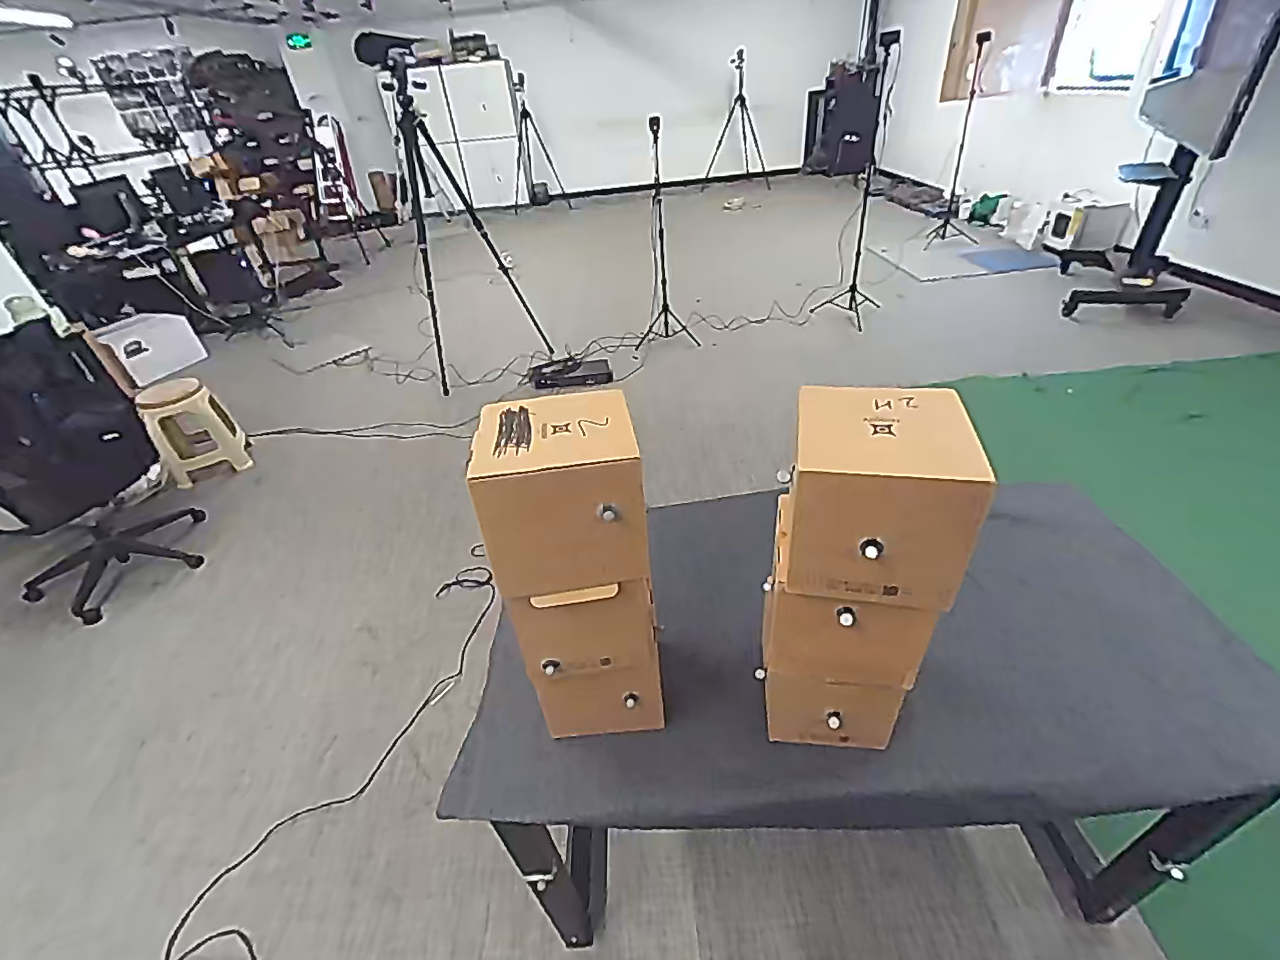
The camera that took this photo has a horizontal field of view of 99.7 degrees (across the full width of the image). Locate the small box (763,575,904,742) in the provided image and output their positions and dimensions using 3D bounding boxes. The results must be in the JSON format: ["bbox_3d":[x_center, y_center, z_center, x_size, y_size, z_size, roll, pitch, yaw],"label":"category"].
[{"bbox_3d":[0.270,0.262,0.797,0.168,0.176,0.179,-1,37,9],"label":"small box"}]

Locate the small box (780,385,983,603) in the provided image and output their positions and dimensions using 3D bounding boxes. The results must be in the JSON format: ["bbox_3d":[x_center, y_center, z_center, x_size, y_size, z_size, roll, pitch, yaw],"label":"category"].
[{"bbox_3d":[0.243,0.011,0.586,0.168,0.176,0.179,4,37,15],"label":"small box"}]

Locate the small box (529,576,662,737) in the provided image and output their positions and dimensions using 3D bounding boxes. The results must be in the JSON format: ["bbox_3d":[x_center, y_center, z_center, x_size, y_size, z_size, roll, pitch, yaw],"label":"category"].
[{"bbox_3d":[-0.060,0.273,0.838,0.179,0.176,0.168,-7,35,1],"label":"small box"}]

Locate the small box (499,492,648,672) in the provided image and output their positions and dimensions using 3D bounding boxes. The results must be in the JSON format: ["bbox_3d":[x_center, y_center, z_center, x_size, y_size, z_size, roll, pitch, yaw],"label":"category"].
[{"bbox_3d":[-0.085,0.143,0.741,0.168,0.176,0.179,-8,34,-3],"label":"small box"}]

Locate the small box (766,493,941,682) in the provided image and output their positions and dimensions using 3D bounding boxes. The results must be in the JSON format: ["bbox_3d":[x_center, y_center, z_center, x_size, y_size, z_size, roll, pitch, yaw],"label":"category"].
[{"bbox_3d":[0.258,0.136,0.694,0.179,0.176,0.168,2,37,14],"label":"small box"}]
